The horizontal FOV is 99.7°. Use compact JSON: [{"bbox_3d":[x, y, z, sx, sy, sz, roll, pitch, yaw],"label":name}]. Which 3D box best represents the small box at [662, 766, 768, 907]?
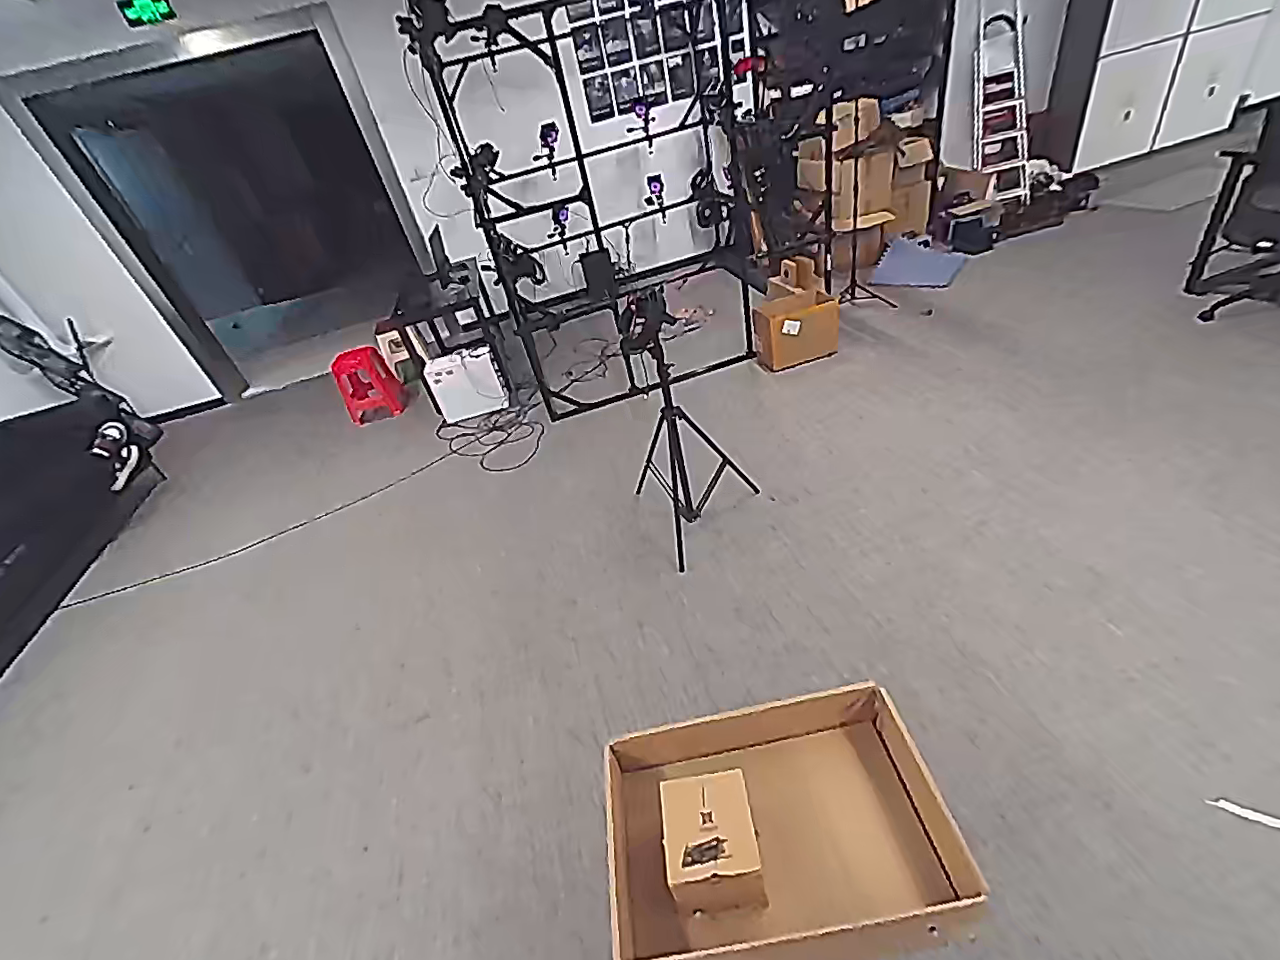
[{"bbox_3d":[0.142,0.685,1.034,0.168,0.176,0.179,-11,35,5],"label":"small box"}]
